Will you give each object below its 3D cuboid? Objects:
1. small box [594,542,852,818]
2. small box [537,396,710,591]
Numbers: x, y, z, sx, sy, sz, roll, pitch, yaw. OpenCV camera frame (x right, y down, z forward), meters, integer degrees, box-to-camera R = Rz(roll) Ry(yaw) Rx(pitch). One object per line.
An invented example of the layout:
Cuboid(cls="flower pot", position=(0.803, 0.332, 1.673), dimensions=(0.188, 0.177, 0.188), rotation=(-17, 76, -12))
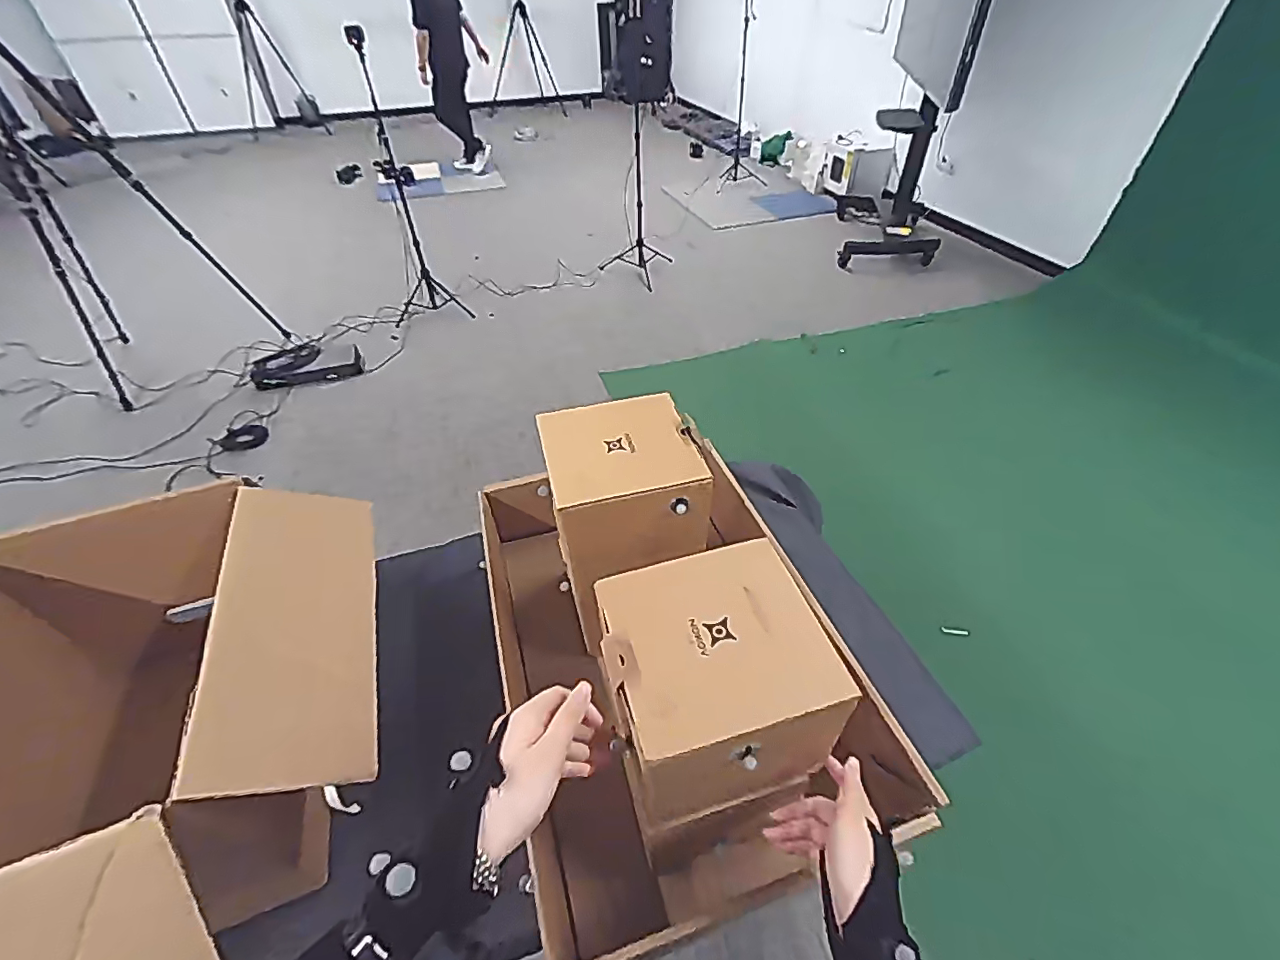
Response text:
Cuboid(cls="small box", position=(0.065, 0.189, 0.512), dimensions=(0.179, 0.176, 0.168), rotation=(-13, 46, -11))
Cuboid(cls="small box", position=(-0.023, 0.019, 0.688), dimensions=(0.179, 0.176, 0.168), rotation=(-11, 47, -11))
